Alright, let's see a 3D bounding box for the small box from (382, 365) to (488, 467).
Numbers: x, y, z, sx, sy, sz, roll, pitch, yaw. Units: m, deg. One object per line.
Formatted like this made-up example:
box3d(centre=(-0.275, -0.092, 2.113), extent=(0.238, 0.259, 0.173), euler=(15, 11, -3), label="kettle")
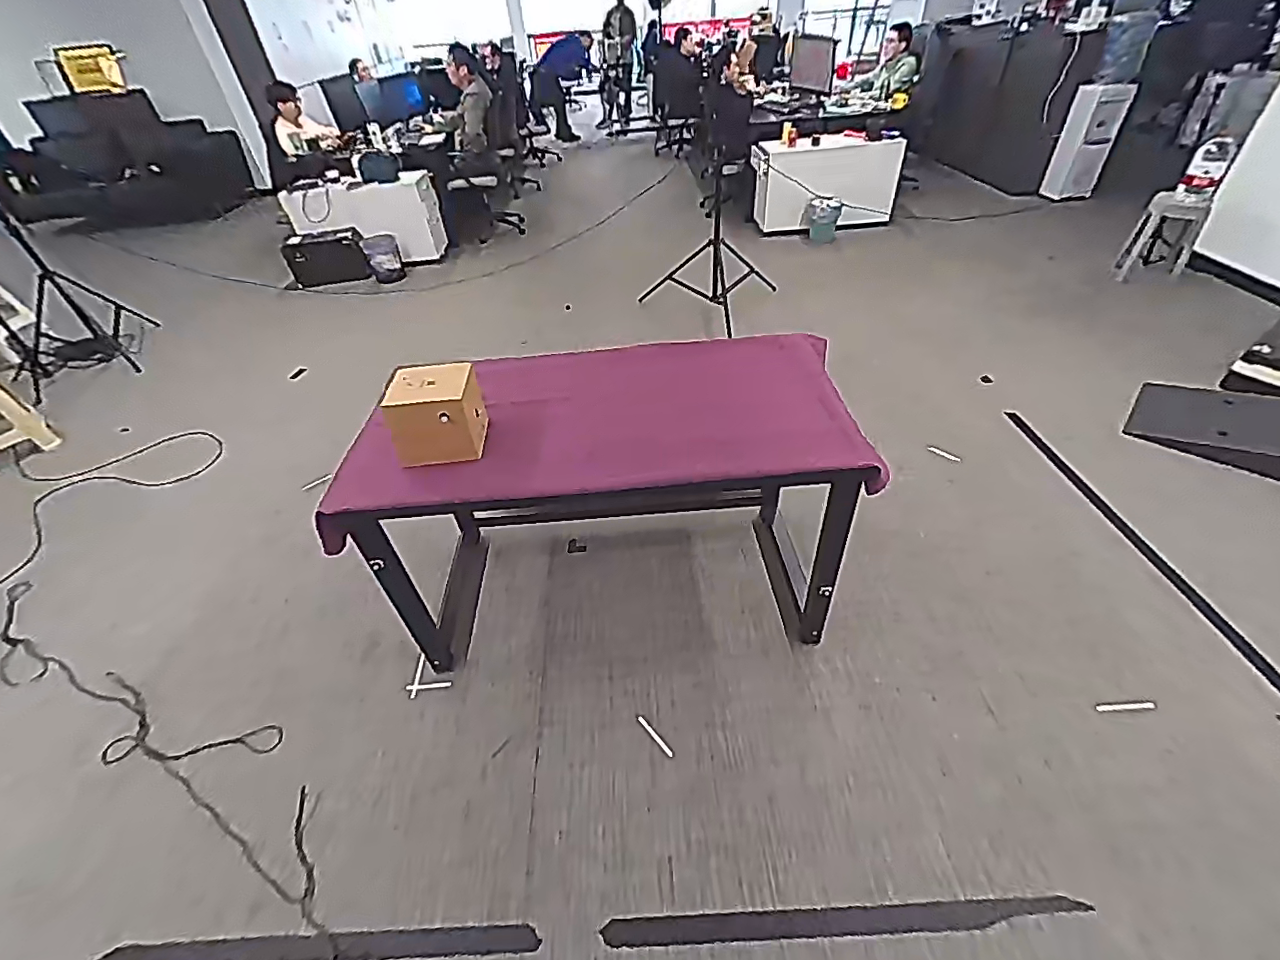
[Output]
box3d(centre=(-0.463, -0.147, 1.256), extent=(0.179, 0.176, 0.168), euler=(-6, 40, -2), label="small box")
